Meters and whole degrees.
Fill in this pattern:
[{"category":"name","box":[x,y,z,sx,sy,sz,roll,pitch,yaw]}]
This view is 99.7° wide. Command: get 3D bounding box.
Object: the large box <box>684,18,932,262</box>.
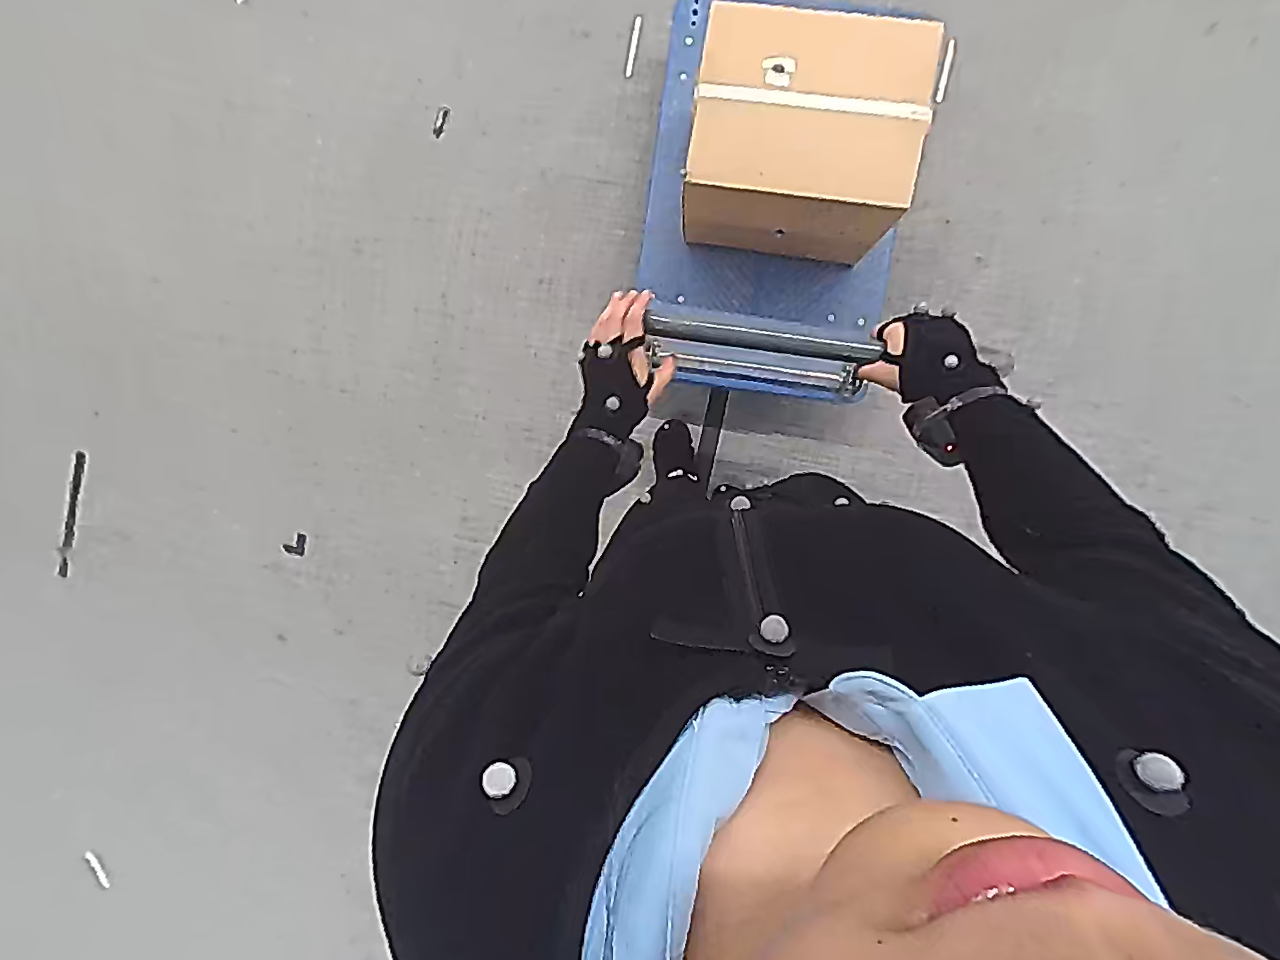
[{"category":"large box","box":[0.315,-0.672,1.123,0.408,0.320,0.320,9,94,5]}]
